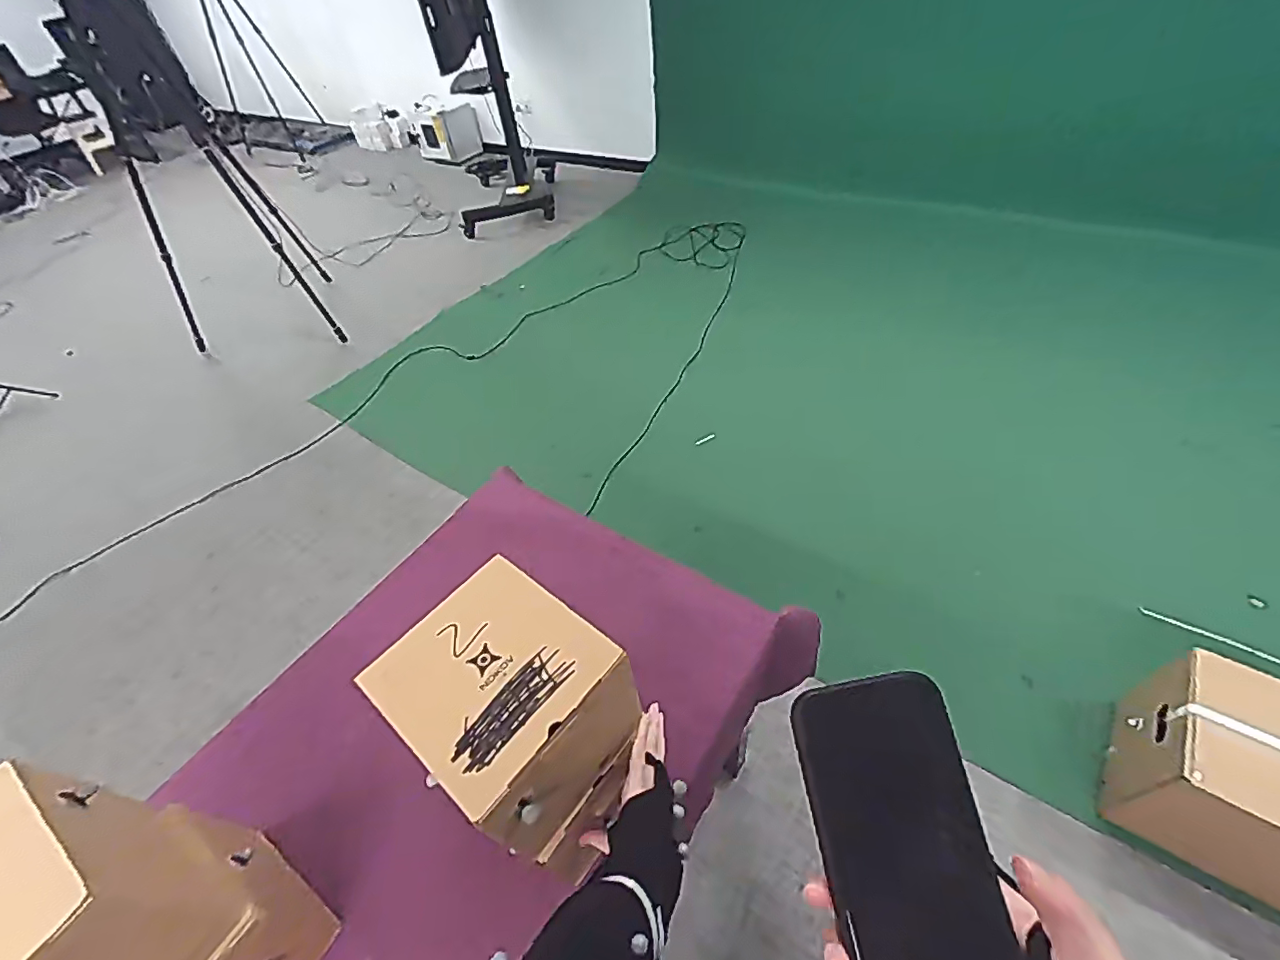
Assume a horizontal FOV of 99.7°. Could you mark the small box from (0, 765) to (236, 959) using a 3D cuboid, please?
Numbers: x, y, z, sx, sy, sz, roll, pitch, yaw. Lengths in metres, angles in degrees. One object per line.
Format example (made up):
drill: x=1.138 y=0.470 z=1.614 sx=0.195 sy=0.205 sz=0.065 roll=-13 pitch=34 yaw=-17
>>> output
small box: x=-0.487 y=0.374 z=0.432 sx=0.179 sy=0.176 sz=0.168 roll=22 pitch=54 yaw=26

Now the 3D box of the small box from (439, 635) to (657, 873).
small box: x=-0.098 y=0.327 z=0.644 sx=0.179 sy=0.176 sz=0.168 roll=27 pitch=57 yaw=28

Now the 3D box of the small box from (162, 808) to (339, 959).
small box: x=-0.456 y=0.482 z=0.554 sx=0.179 sy=0.176 sz=0.168 roll=22 pitch=54 yaw=26
